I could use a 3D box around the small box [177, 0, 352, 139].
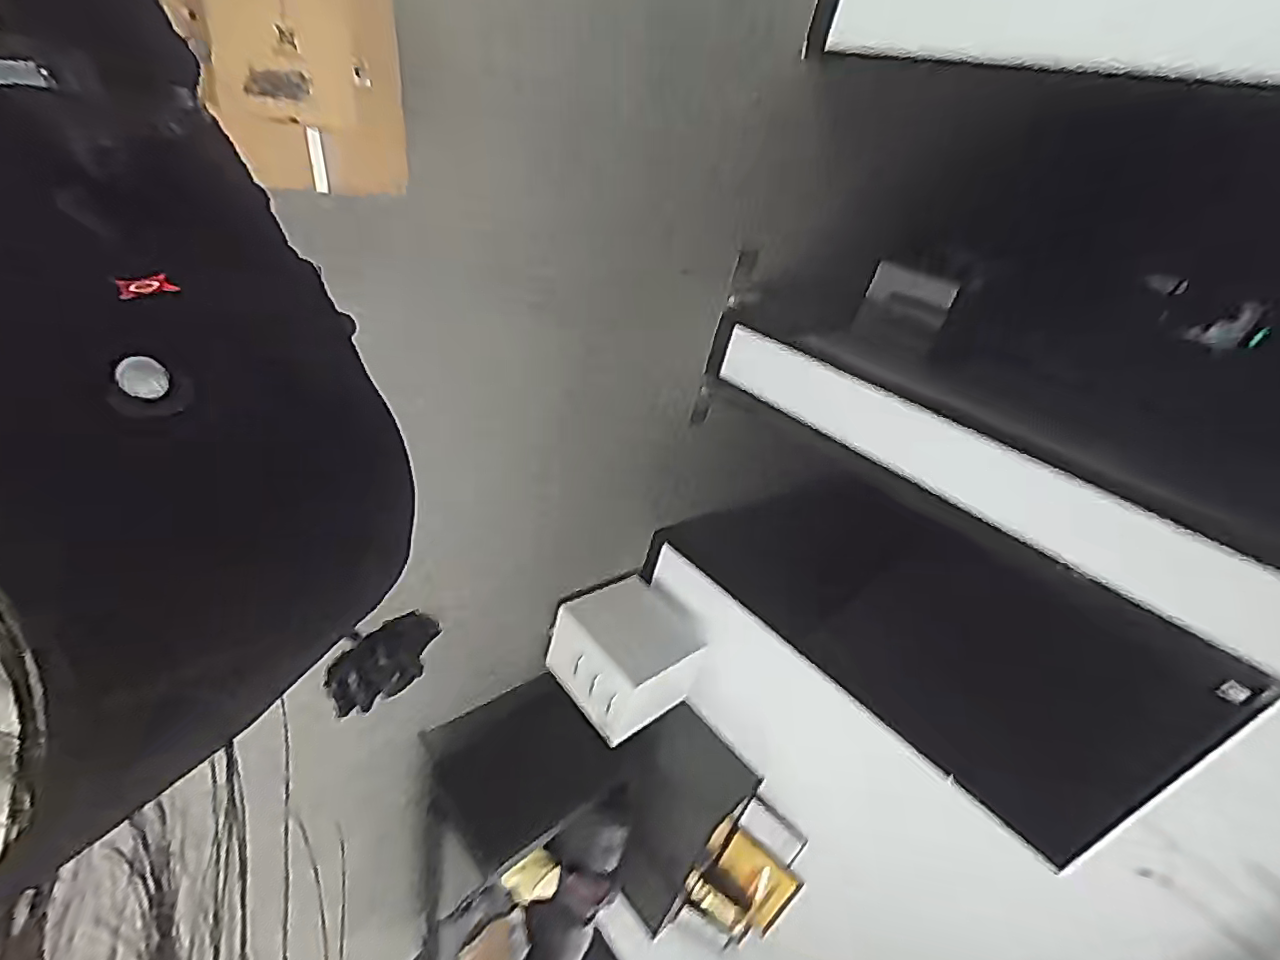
[{"bbox_3d":[-0.514,-0.597,0.743,0.168,0.176,0.179,-16,130,-41],"label":"small box"}]
